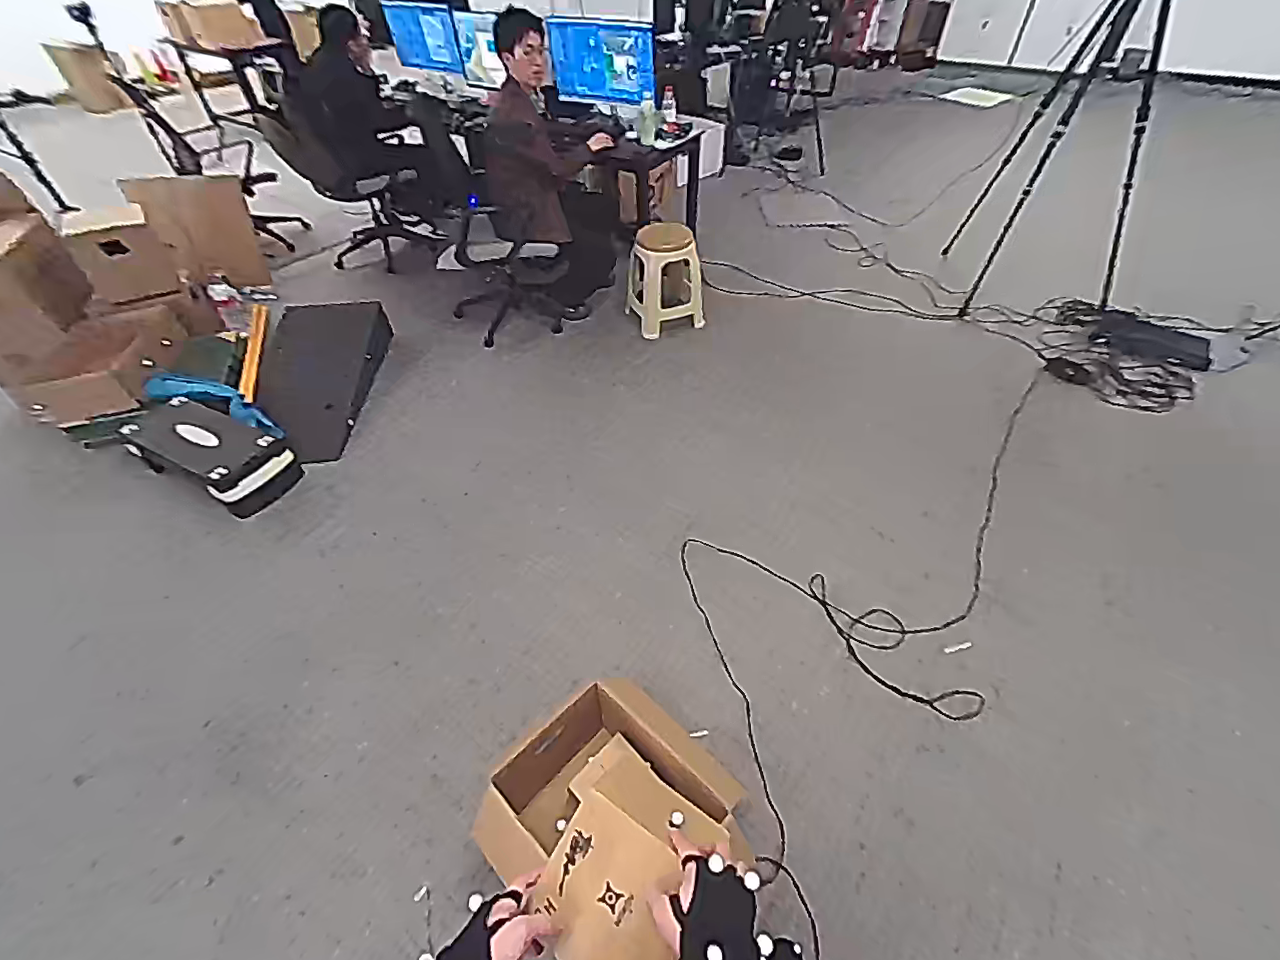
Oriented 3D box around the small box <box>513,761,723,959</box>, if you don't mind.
[{"bbox_3d":[-0.013,0.477,0.658,0.179,0.176,0.168,30,83,18],"label":"small box"}]
